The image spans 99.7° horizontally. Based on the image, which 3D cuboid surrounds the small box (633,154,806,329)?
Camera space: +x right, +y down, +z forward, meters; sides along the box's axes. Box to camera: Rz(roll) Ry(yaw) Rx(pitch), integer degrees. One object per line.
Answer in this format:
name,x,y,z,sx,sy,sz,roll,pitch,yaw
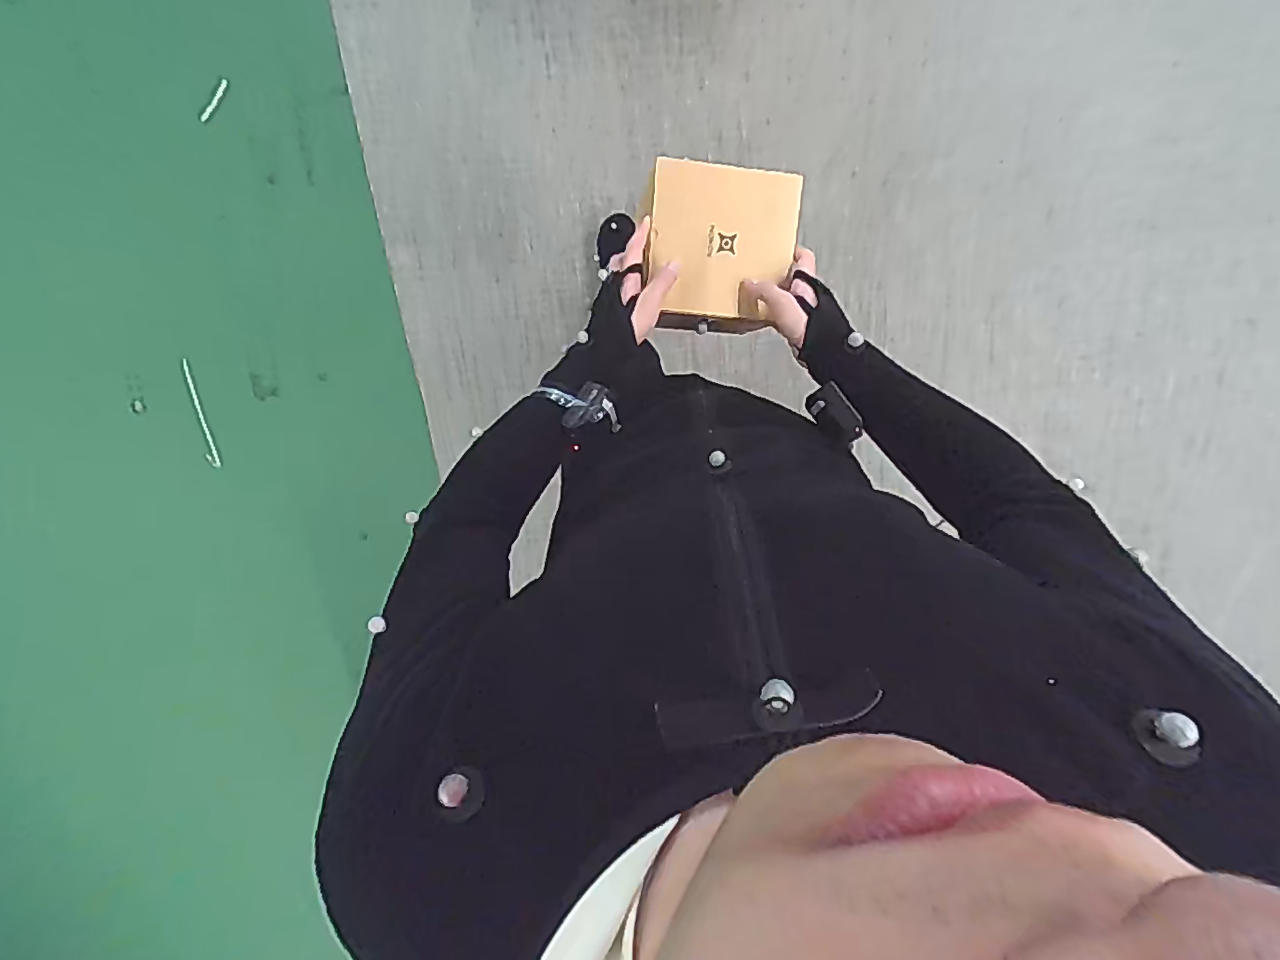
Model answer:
small box,0.089,-0.289,0.695,0.179,0.176,0.168,3,100,-5
